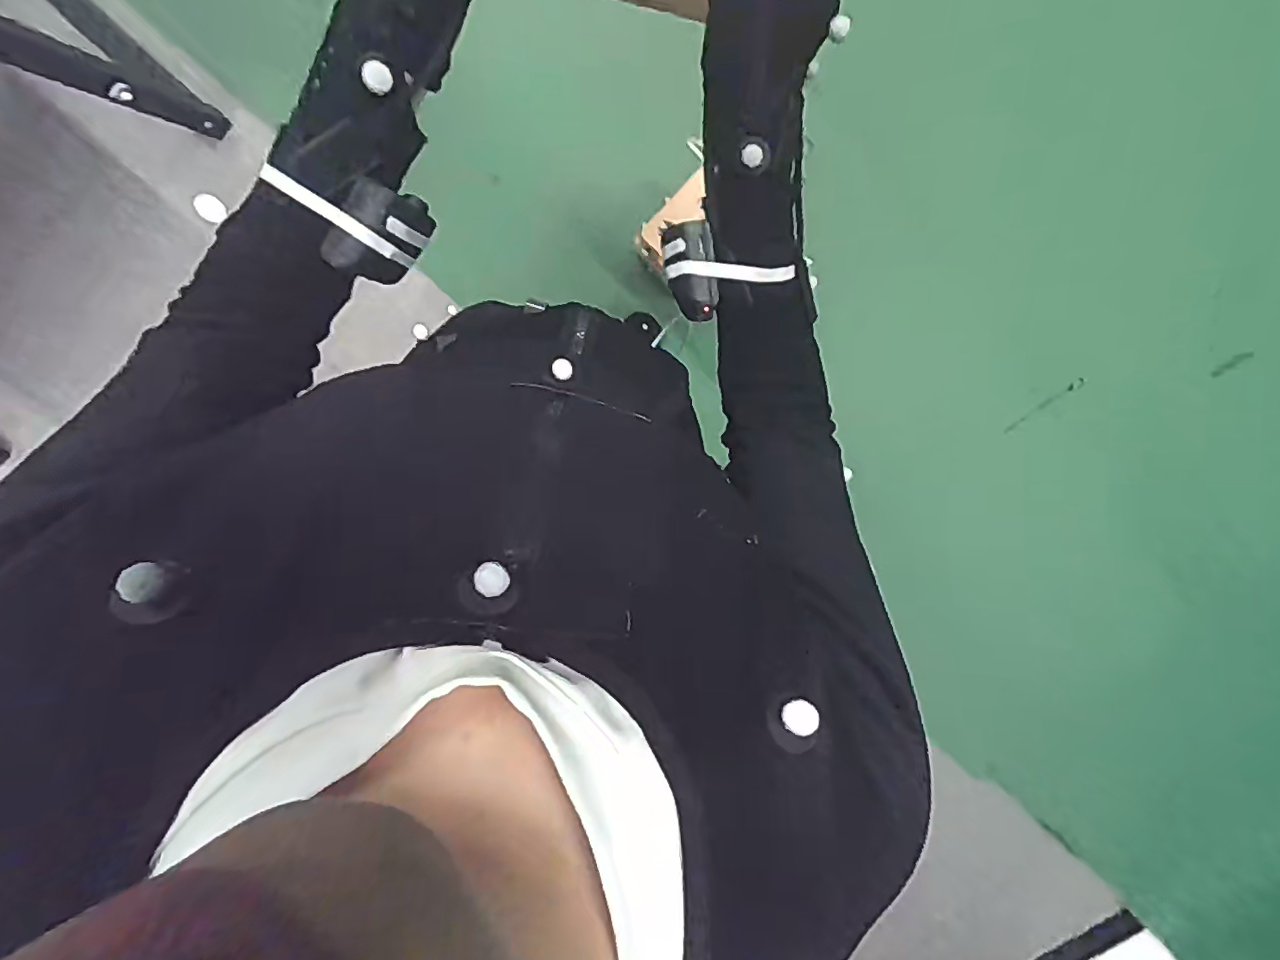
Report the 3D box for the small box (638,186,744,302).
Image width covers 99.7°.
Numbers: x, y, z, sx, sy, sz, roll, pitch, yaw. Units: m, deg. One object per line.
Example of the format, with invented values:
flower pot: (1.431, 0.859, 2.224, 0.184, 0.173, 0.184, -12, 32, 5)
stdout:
small box: (0.110, -0.536, 1.244, 0.179, 0.176, 0.168, -40, 104, 14)
